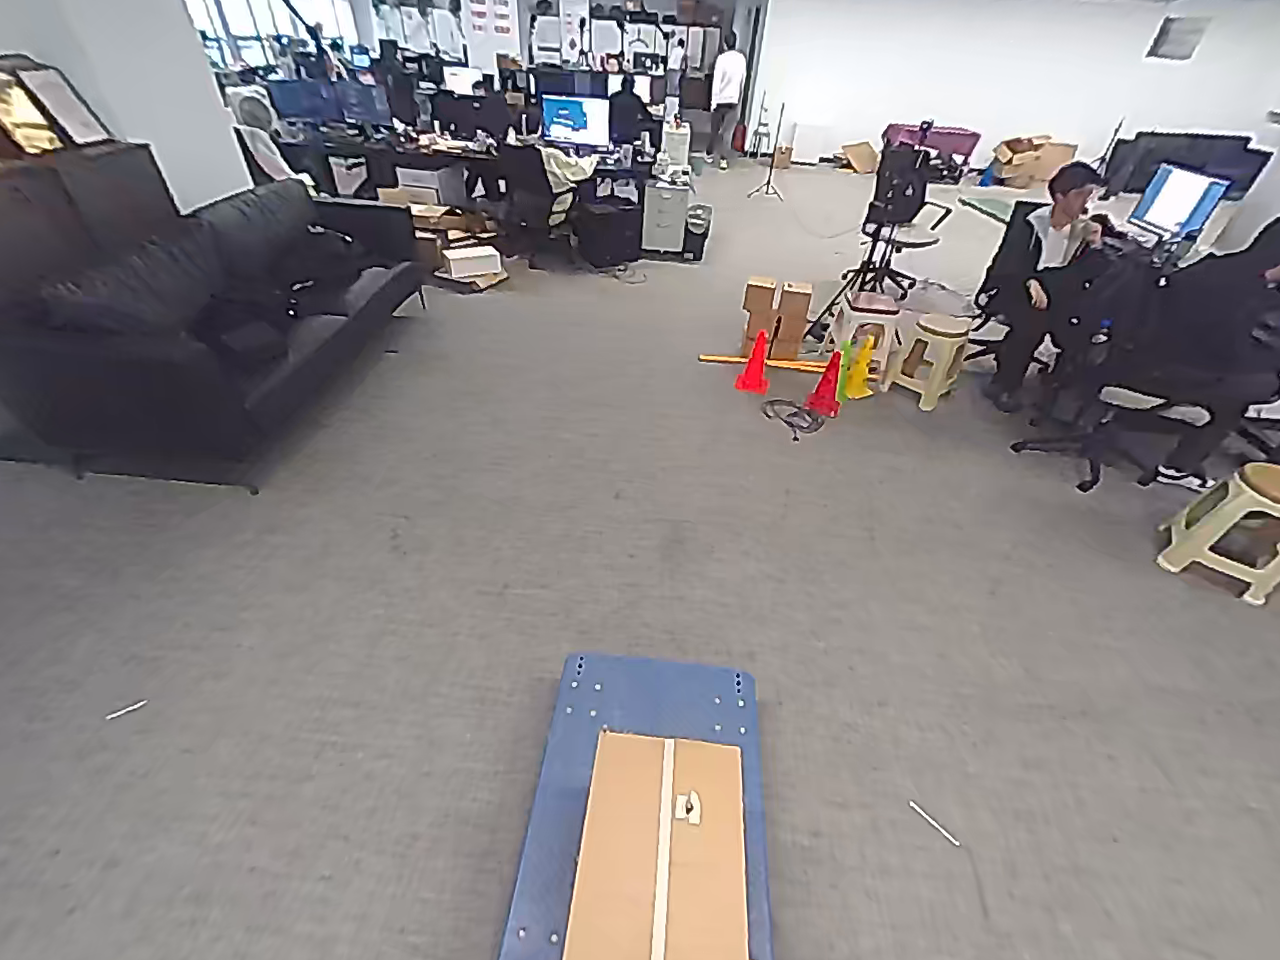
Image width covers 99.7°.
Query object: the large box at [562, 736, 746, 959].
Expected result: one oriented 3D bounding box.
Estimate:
[{"bbox_3d":[0.031,0.818,1.125,0.320,0.320,0.408,6,38,2],"label":"large box"}]
